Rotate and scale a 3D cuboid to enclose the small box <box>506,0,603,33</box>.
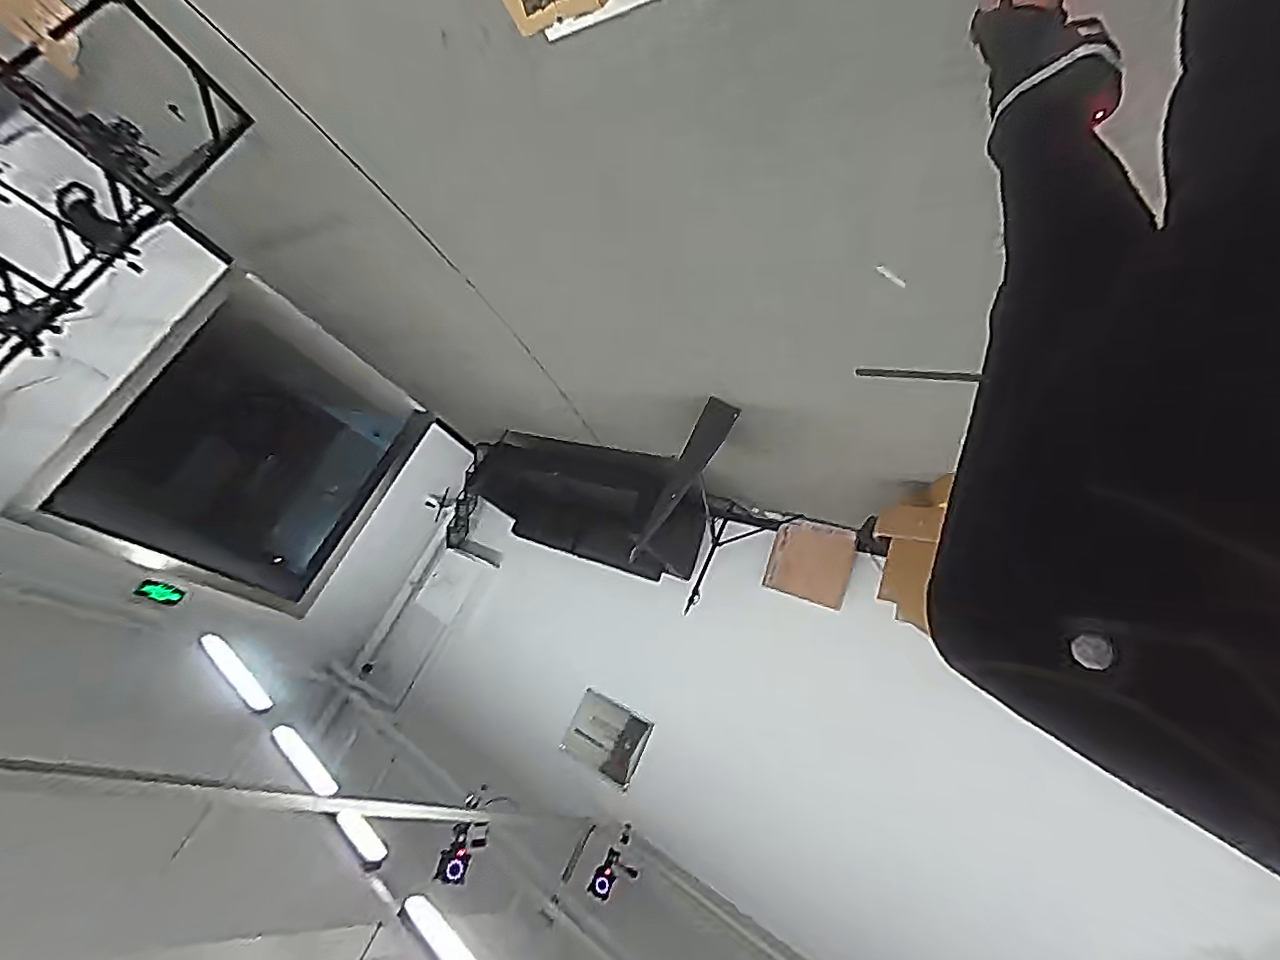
[{"bbox_3d":[-0.114,-0.786,0.754,0.168,0.176,0.179,14,157,34],"label":"small box"}]
